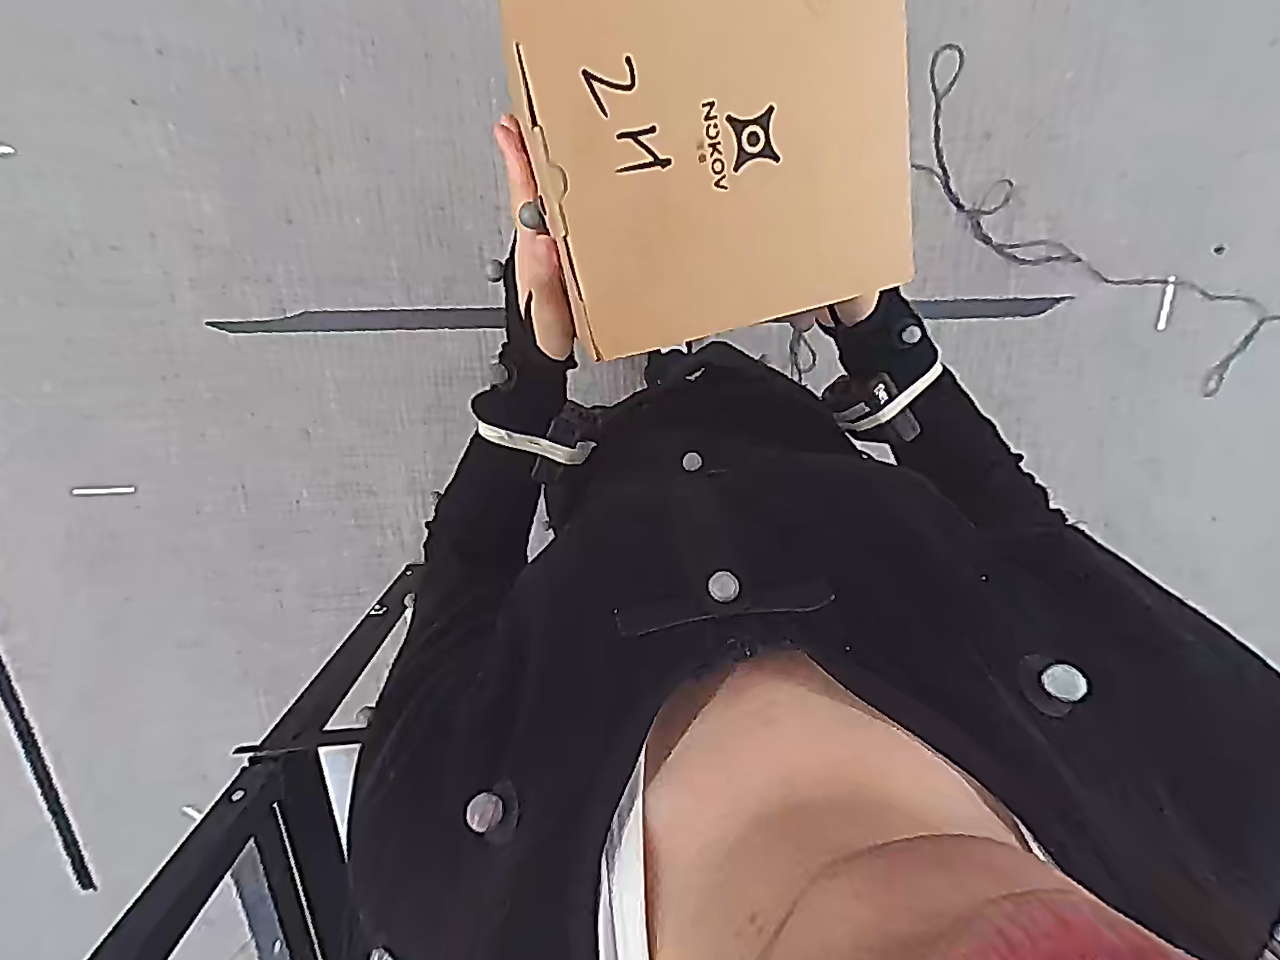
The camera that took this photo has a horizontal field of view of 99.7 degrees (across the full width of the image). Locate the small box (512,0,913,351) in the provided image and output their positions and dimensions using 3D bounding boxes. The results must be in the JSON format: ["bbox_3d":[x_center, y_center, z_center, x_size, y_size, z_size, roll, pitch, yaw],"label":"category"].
[{"bbox_3d":[0.030,-0.186,0.321,0.179,0.176,0.168,-16,111,-5],"label":"small box"}]
